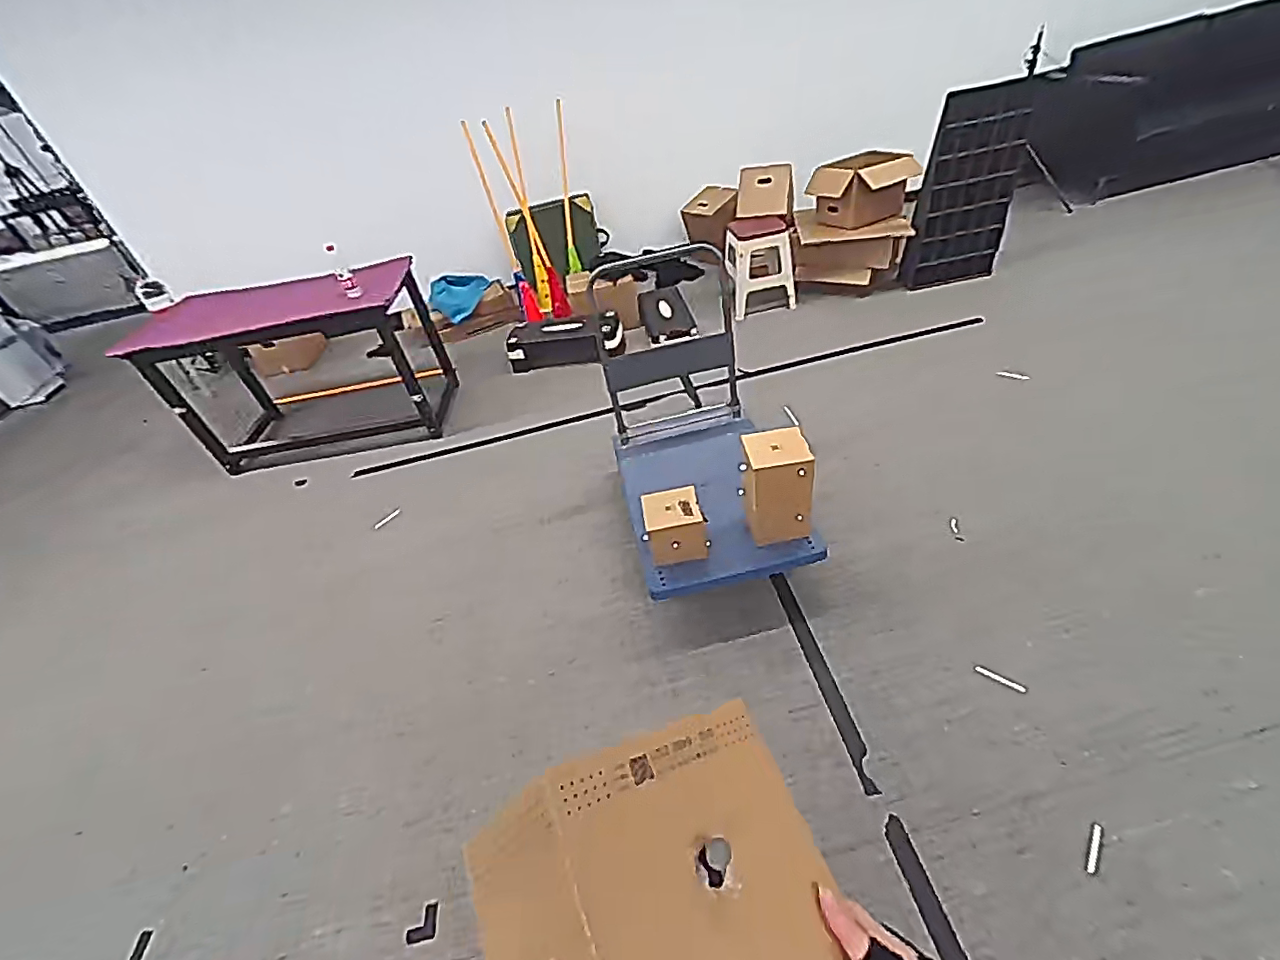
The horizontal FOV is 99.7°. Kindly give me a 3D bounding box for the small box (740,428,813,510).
[{"bbox_3d":[0.402,-0.028,1.606,0.179,0.176,0.168,-9,40,2],"label":"small box"}]

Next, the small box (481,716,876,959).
[{"bbox_3d":[0.007,0.279,0.363,0.168,0.179,0.176,0,49,-36],"label":"small box"}]

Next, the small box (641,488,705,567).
[{"bbox_3d":[0.108,0.153,1.720,0.179,0.176,0.168,-12,40,2],"label":"small box"}]
